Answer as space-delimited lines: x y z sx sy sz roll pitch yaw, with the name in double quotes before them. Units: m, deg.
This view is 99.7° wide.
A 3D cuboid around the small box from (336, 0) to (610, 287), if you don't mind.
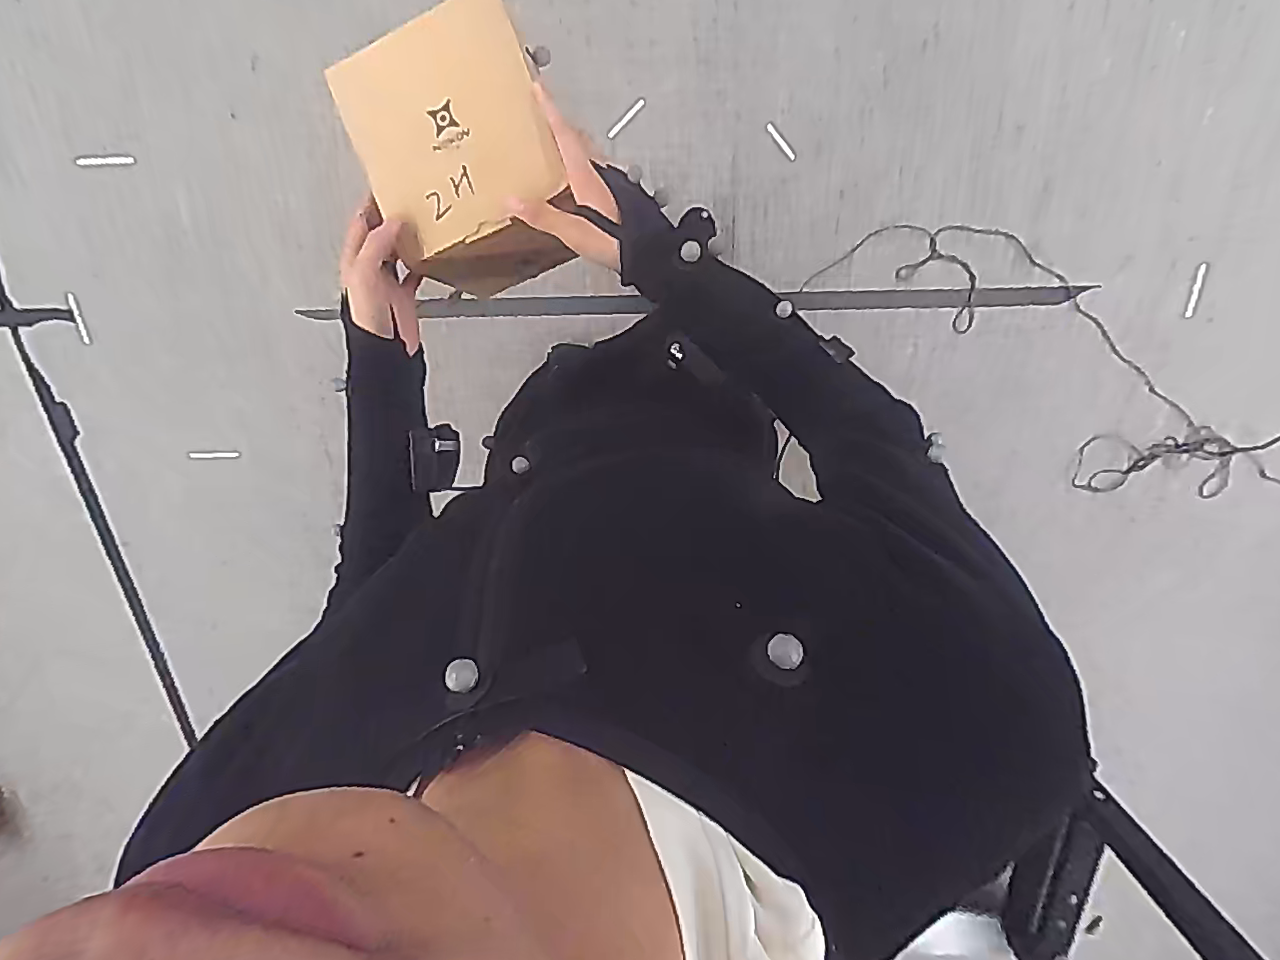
"small box" -0.143 -0.313 0.529 0.168 0.176 0.179 -20 97 11
